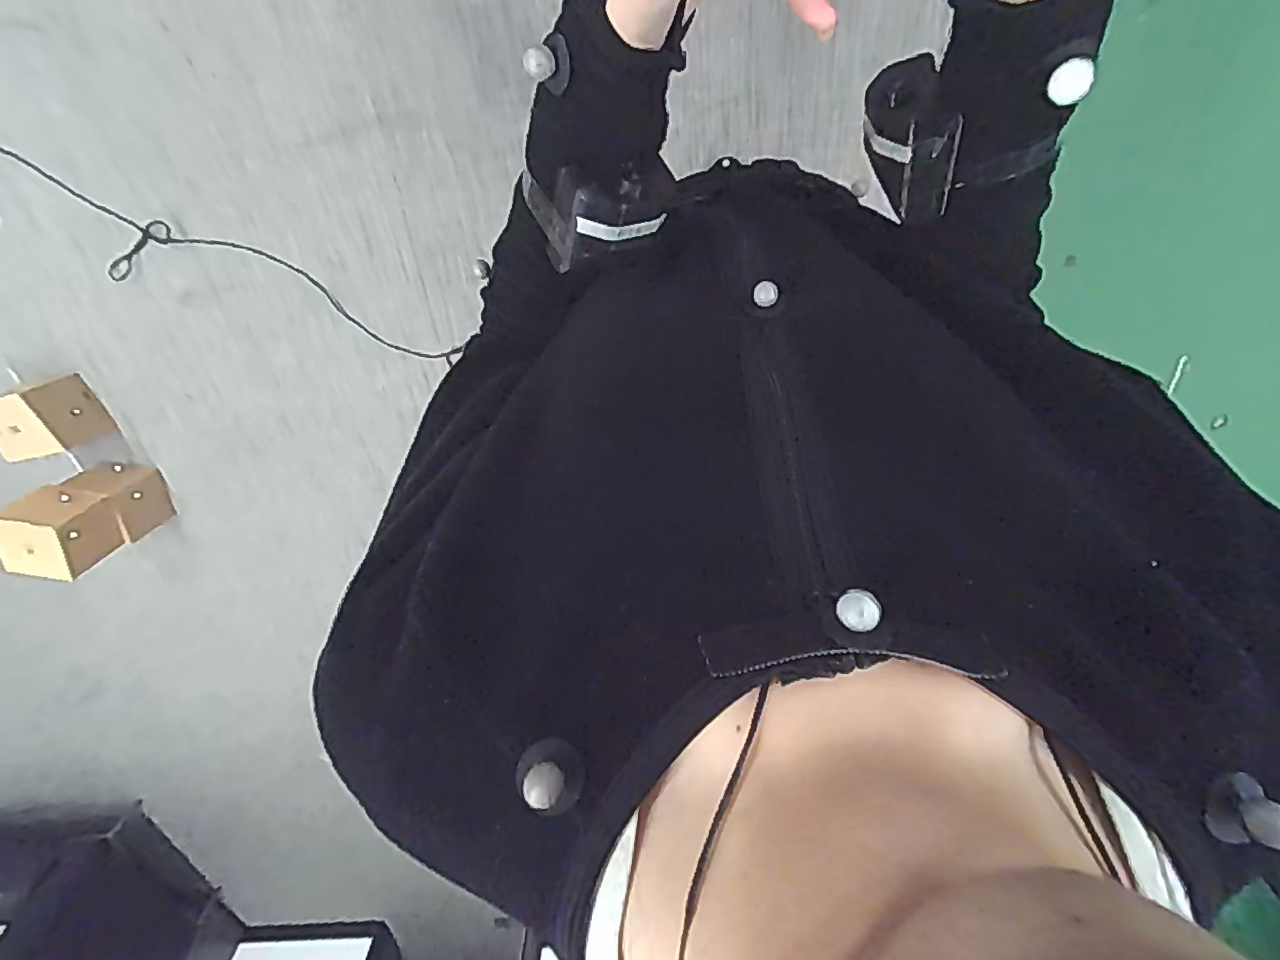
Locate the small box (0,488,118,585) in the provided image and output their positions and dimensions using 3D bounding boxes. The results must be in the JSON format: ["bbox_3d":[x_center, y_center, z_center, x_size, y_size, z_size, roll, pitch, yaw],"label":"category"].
[{"bbox_3d":[-1.552,0.147,1.438,0.168,0.176,0.179,11,117,-5],"label":"small box"}]

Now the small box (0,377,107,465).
[{"bbox_3d":[-1.601,-0.163,1.449,0.179,0.176,0.168,-10,119,6],"label":"small box"}]
